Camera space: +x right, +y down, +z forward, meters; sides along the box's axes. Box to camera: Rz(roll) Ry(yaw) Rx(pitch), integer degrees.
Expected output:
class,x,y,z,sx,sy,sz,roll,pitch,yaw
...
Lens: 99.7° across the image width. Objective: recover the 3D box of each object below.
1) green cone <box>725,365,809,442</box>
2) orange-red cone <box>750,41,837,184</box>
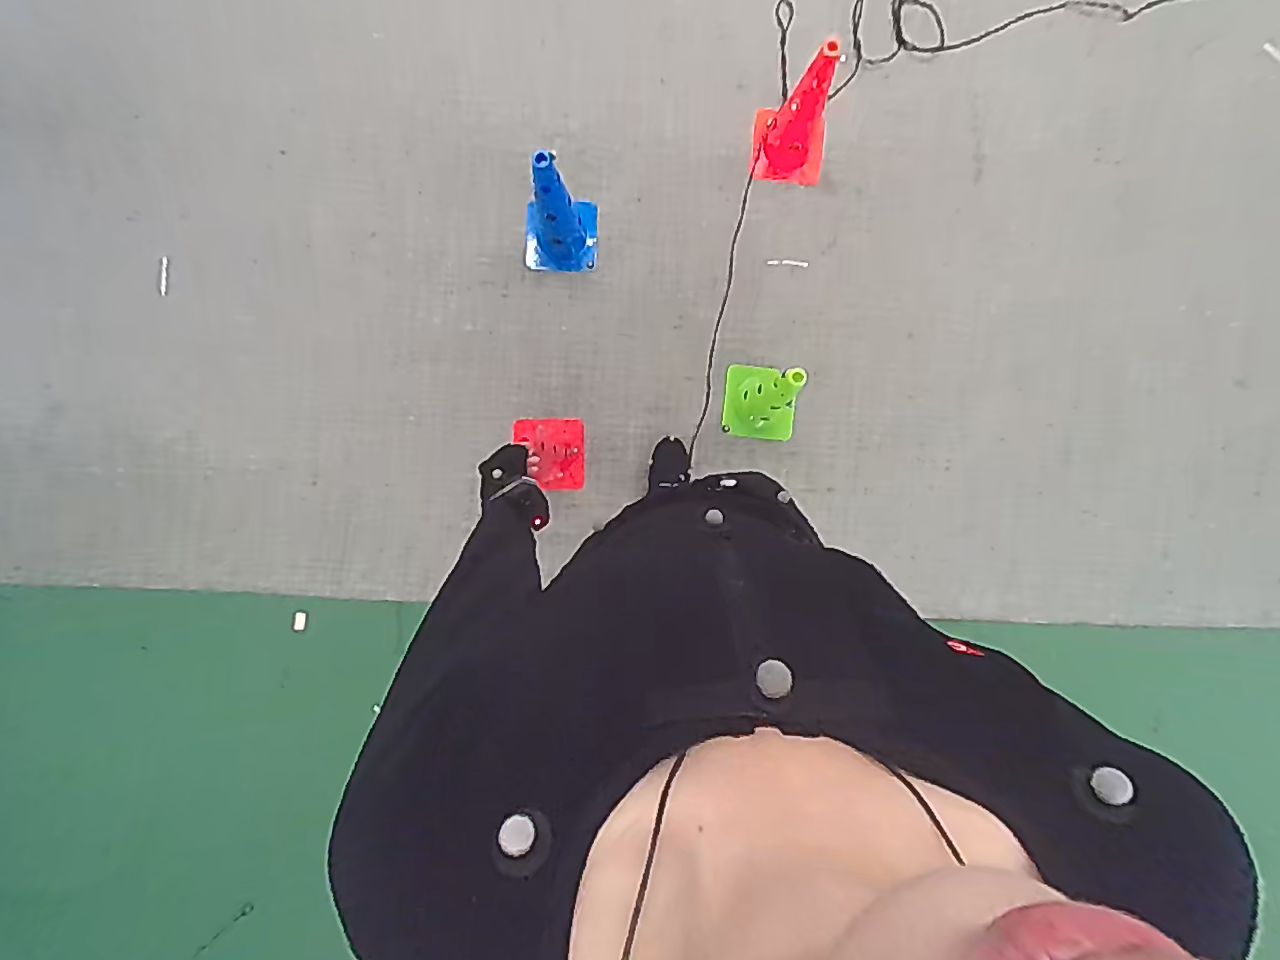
class,x,y,z,sx,sy,sz,roll,pitch,yaw
green cone,0.345,-0.217,1.343,0.200,0.368,0.202,5,88,-1
orange-red cone,0.417,-0.944,1.361,0.198,0.360,0.199,7,90,1
